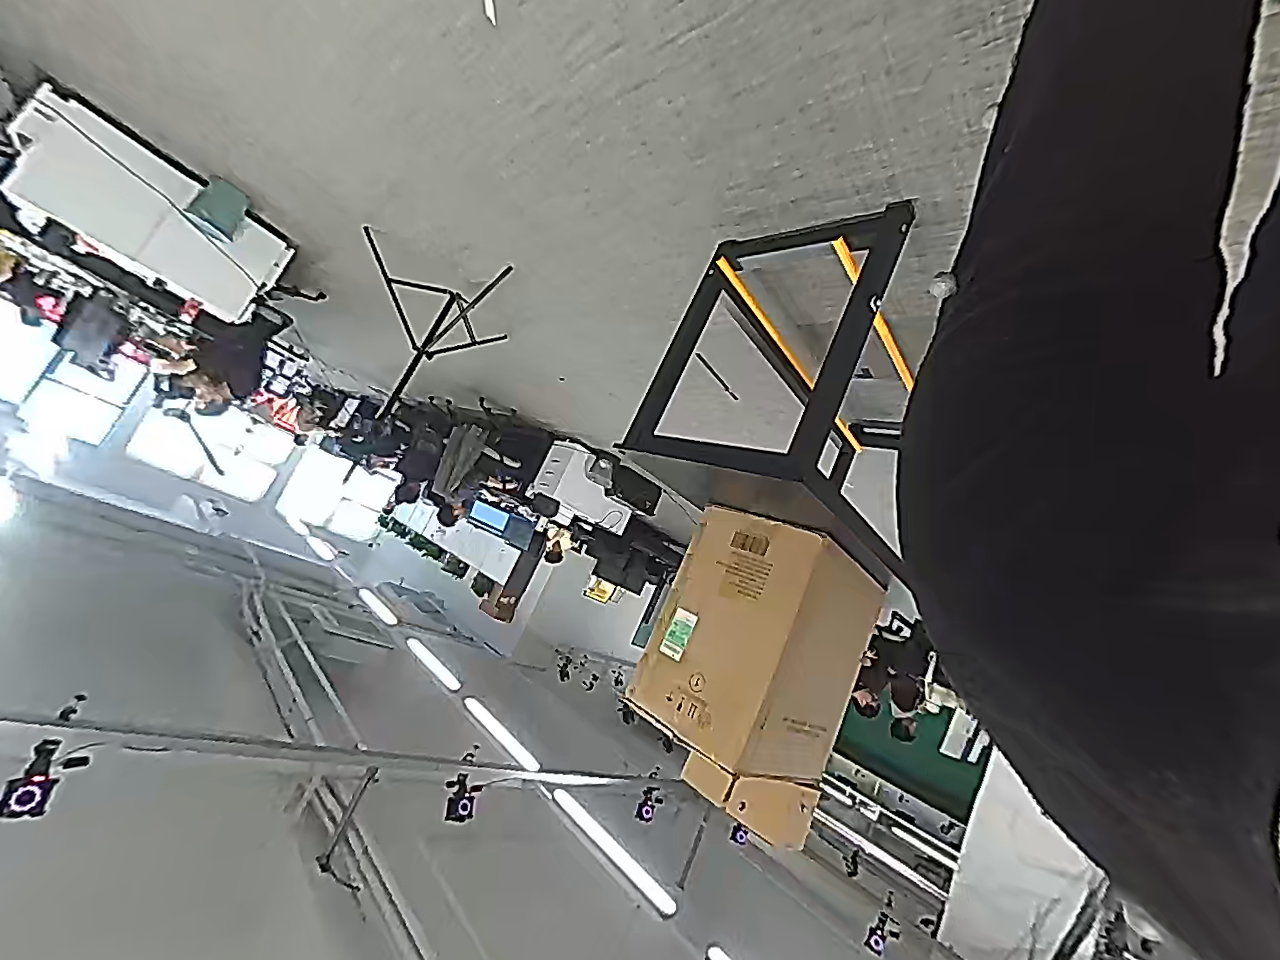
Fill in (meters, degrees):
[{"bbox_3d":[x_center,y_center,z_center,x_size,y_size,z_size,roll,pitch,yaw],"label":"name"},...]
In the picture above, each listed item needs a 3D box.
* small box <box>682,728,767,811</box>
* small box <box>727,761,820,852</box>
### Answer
[{"bbox_3d":[0.270,0.906,1.694,0.168,0.176,0.179,15,164,46],"label":"small box"},{"bbox_3d":[0.386,0.930,1.556,0.179,0.176,0.168,7,158,49],"label":"small box"}]
